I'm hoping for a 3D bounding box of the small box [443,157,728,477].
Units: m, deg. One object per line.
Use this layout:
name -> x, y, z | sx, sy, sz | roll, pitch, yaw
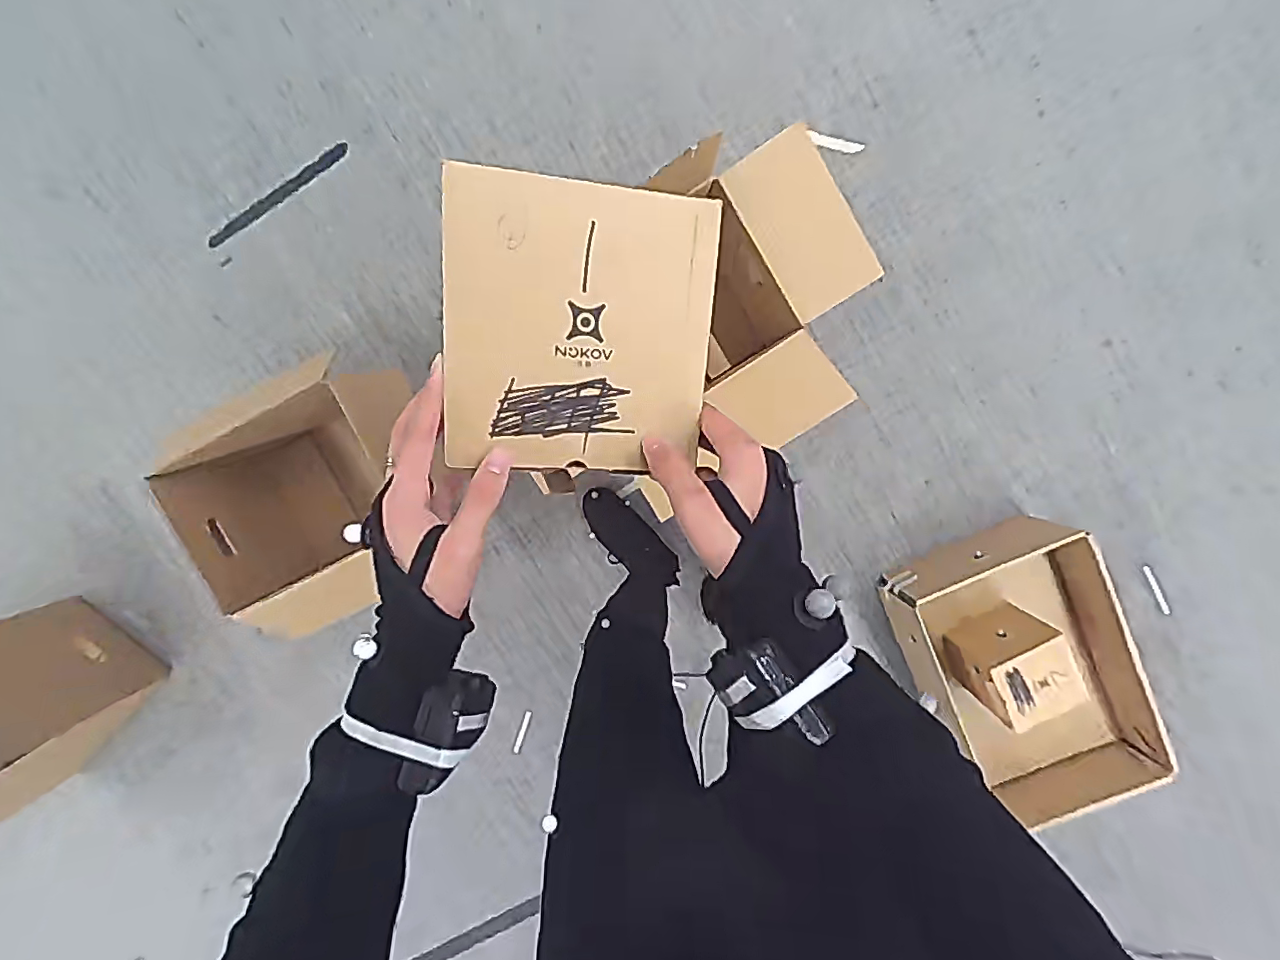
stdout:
small box -> -0.050, -0.109, 0.403 | 0.168, 0.176, 0.179 | 1, 105, -14
